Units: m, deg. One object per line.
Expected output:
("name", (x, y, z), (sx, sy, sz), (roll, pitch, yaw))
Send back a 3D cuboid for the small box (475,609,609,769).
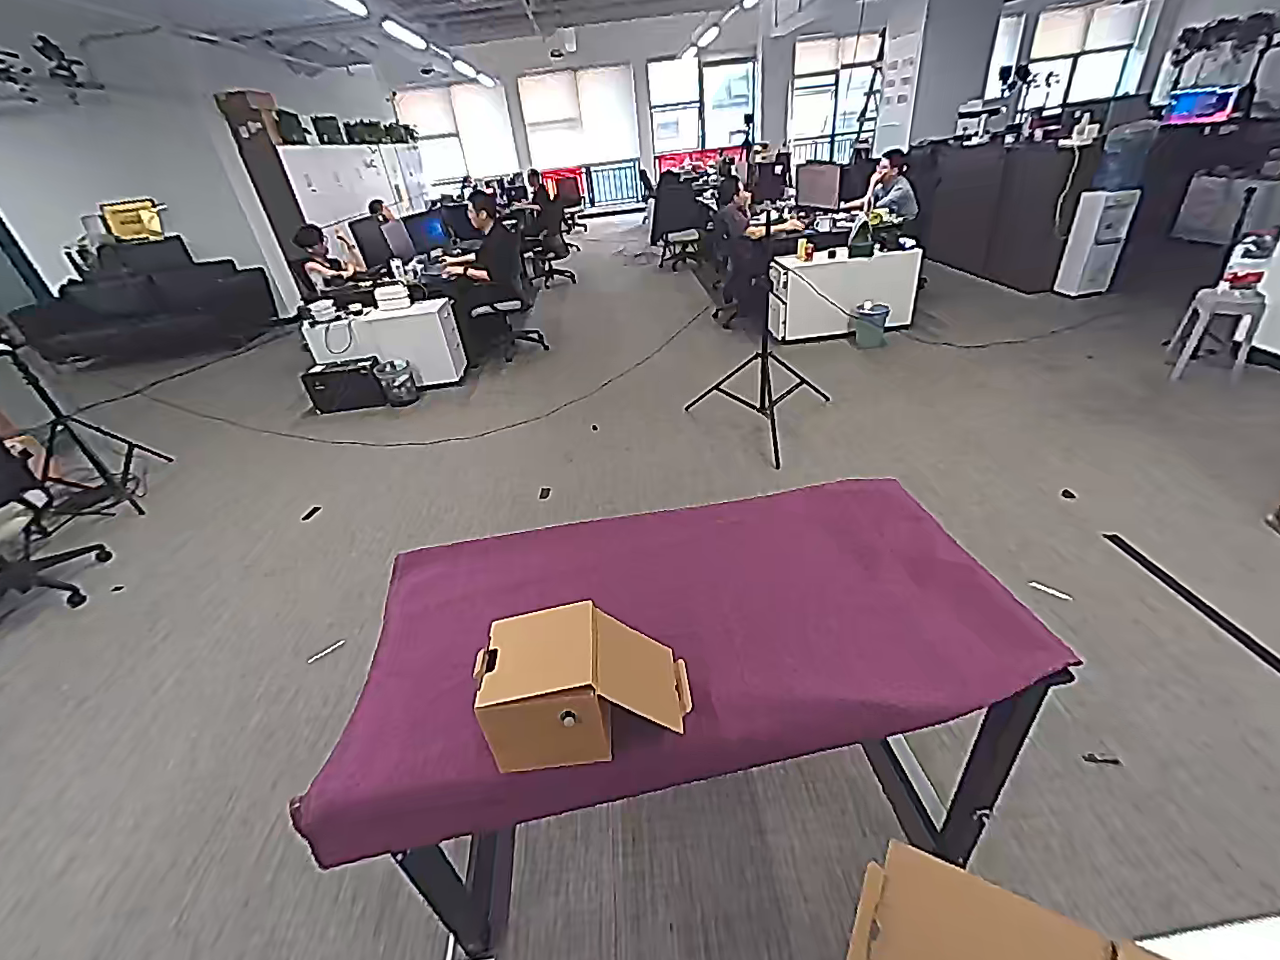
("small box", (-0.143, 0.335, 0.869), (0.179, 0.176, 0.168), (-7, 32, 0))
